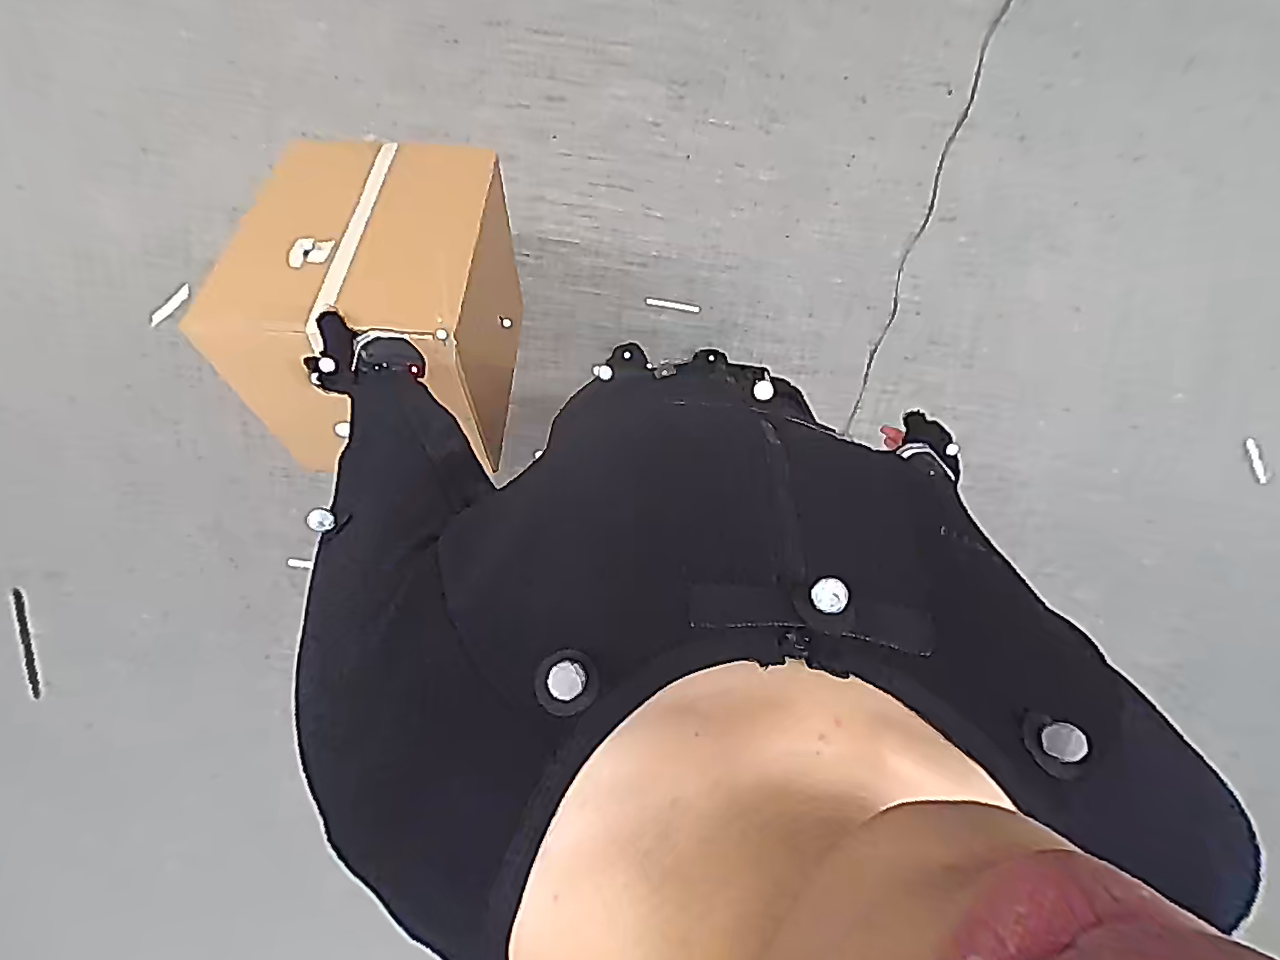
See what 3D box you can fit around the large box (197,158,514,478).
[{"bbox_3d":[-0.390,-0.251,0.875,0.320,0.320,0.408,0,59,-3],"label":"large box"}]
